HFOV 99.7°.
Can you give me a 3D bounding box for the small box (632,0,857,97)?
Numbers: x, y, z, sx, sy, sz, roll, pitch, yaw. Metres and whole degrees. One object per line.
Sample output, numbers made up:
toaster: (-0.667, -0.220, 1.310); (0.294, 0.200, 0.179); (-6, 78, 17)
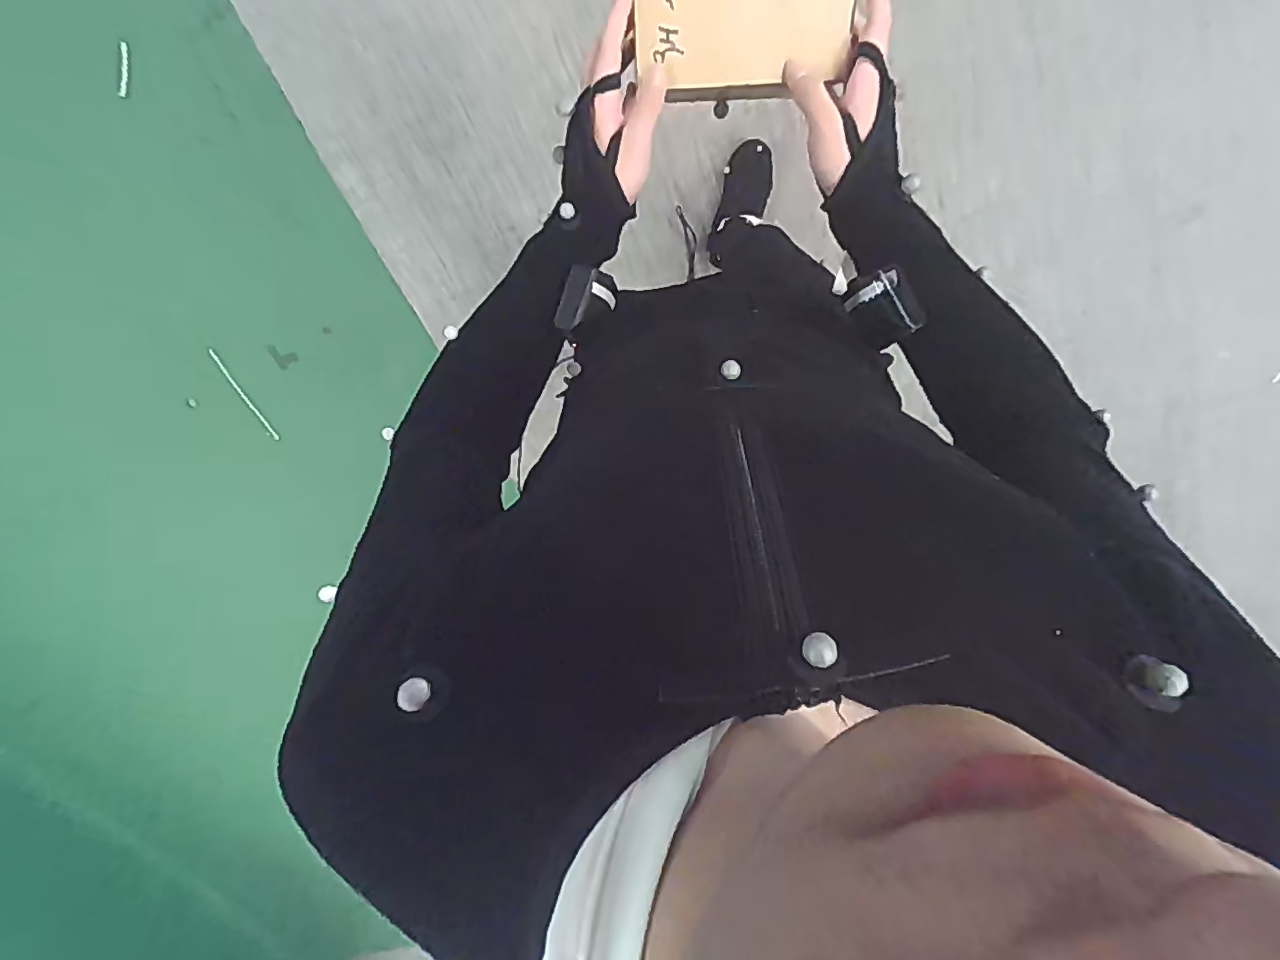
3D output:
small box: (0.081, -0.443, 0.473); (0.179, 0.176, 0.168); (-2, 121, 1)
